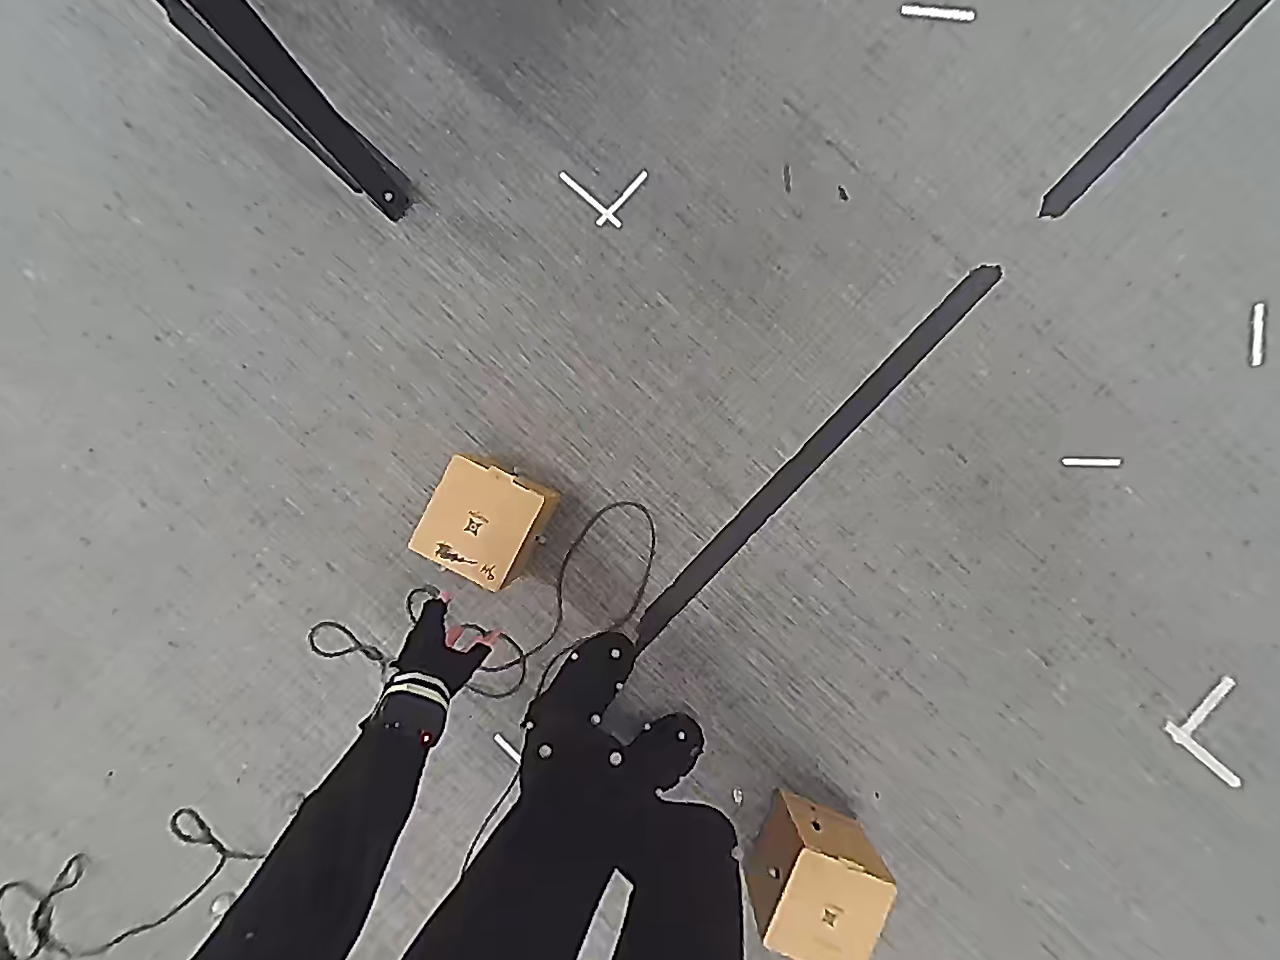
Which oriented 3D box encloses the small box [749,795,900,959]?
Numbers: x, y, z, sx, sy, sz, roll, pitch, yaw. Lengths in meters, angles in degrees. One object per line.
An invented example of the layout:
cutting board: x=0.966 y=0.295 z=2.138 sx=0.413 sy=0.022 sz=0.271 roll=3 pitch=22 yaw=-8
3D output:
small box: x=0.300 y=0.685 z=0.922 sx=0.168 sy=0.176 sz=0.179 roll=23 pitch=90 yaw=2

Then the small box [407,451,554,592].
small box: x=-0.261 y=0.067 z=0.938 sx=0.168 sy=0.176 sz=0.179 roll=27 pitch=88 yaw=0
